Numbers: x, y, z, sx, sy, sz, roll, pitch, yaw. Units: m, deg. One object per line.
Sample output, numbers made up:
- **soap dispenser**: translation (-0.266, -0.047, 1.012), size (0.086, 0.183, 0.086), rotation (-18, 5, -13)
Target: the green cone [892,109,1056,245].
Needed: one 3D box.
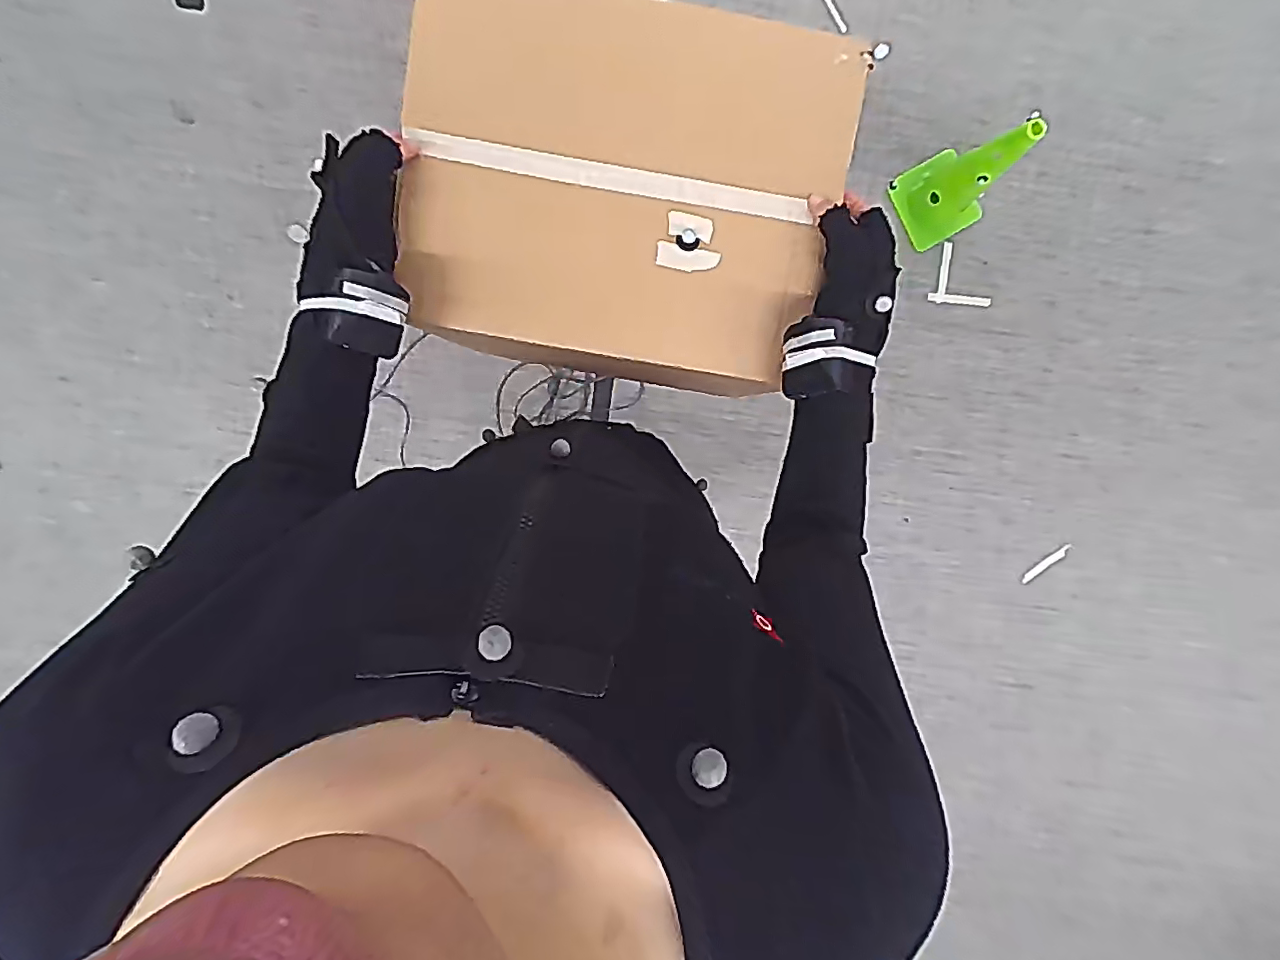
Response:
- **green cone**: translation (0.786, -0.721, 1.238), size (0.202, 0.368, 0.200), rotation (-30, 97, 0)

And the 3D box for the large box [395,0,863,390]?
- **large box**: translation (-0.020, -0.296, 0.647), size (0.408, 0.320, 0.320), rotation (9, 97, -3)
